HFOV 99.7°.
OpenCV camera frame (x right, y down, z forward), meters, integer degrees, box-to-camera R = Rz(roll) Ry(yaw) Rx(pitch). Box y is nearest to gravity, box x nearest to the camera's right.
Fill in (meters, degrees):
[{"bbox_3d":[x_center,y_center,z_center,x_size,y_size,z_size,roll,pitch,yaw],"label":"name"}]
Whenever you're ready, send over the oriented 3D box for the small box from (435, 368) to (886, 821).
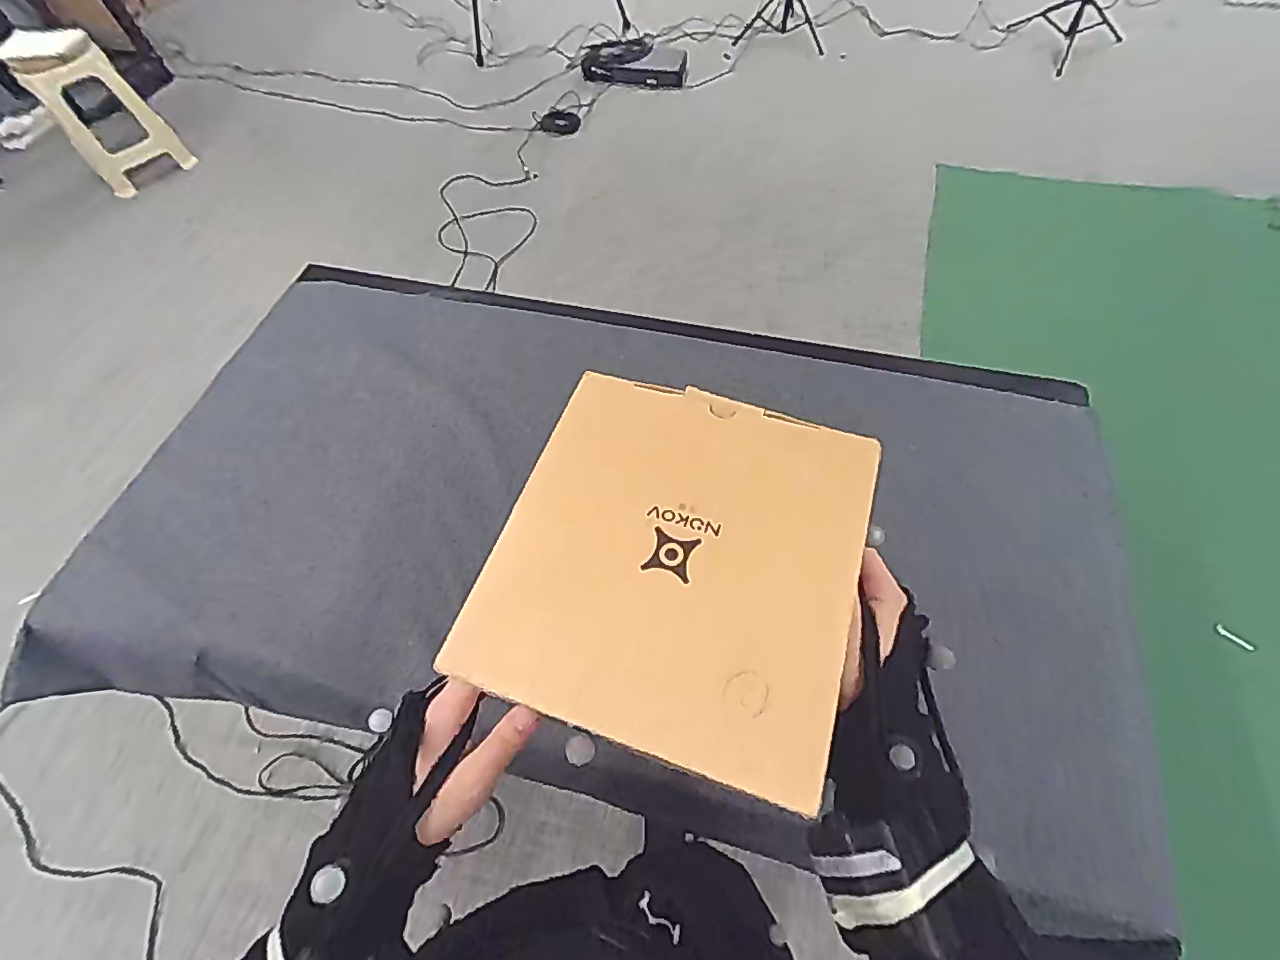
[{"bbox_3d":[0.023,0.069,0.316,0.168,0.176,0.179,15,62,13],"label":"small box"}]
